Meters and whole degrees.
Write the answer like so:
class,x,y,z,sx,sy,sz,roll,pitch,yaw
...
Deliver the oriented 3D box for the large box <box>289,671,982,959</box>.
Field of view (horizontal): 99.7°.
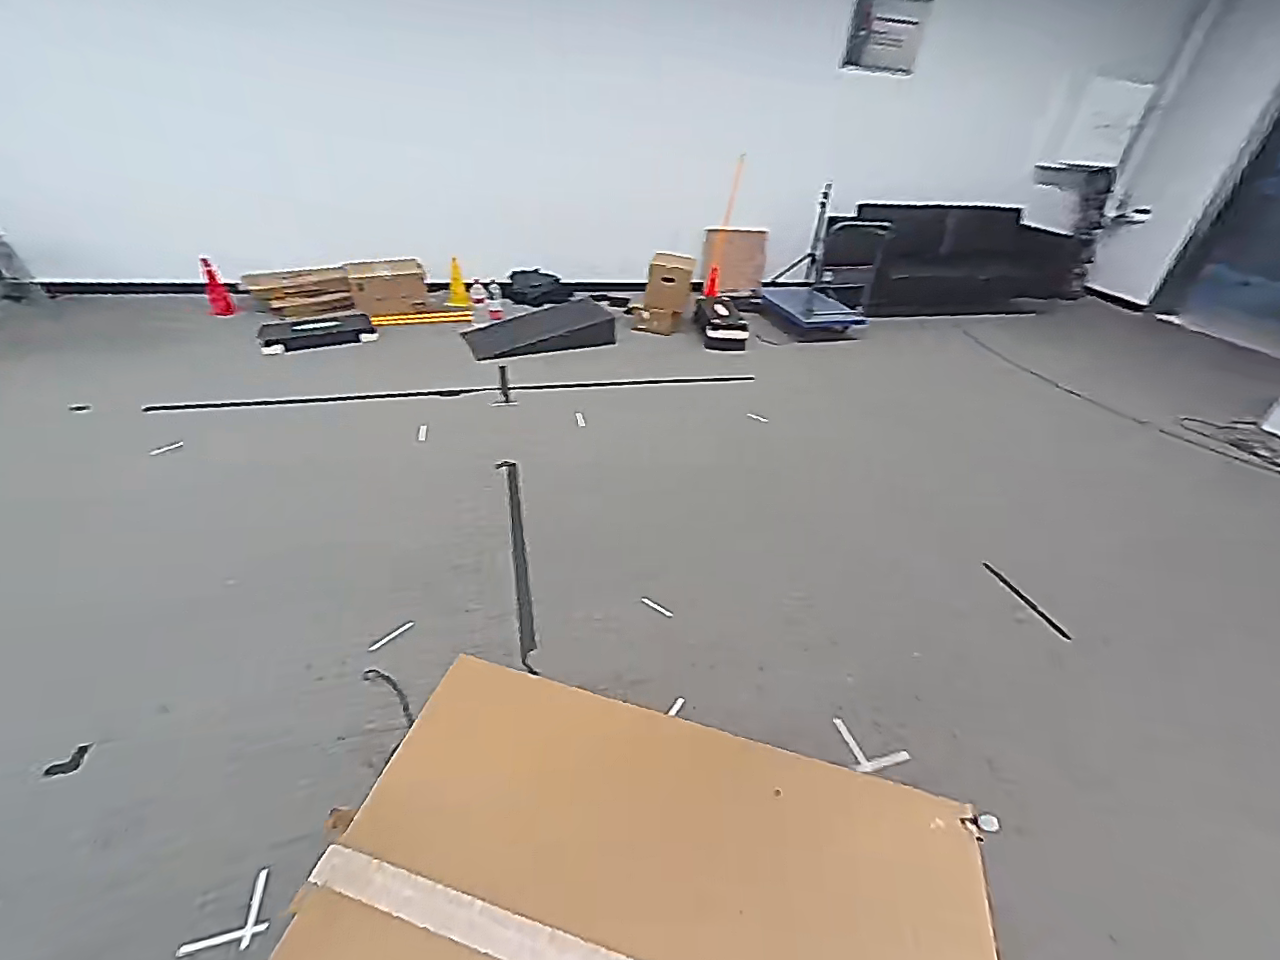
class,x,y,z,sx,sy,sz,roll,pitch,yaw
large box,-0.010,0.404,0.409,0.408,0.320,0.320,12,42,10
